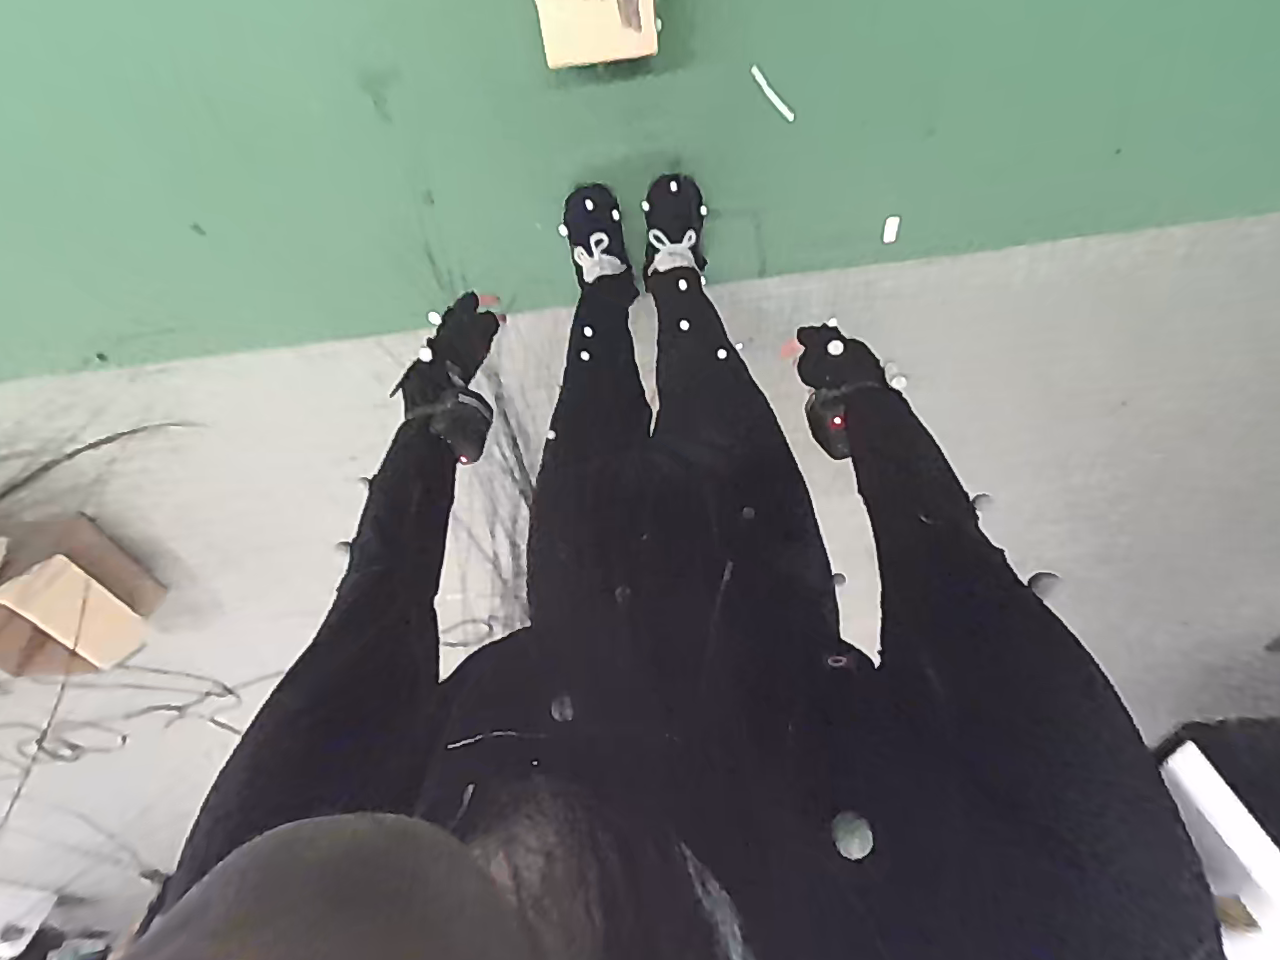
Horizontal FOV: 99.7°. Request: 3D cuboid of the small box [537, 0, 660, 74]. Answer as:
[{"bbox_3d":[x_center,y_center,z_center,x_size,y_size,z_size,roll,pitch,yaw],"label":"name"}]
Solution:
[{"bbox_3d":[-0.065,-0.751,0.842,0.179,0.176,0.168,-5,130,3],"label":"small box"}]
